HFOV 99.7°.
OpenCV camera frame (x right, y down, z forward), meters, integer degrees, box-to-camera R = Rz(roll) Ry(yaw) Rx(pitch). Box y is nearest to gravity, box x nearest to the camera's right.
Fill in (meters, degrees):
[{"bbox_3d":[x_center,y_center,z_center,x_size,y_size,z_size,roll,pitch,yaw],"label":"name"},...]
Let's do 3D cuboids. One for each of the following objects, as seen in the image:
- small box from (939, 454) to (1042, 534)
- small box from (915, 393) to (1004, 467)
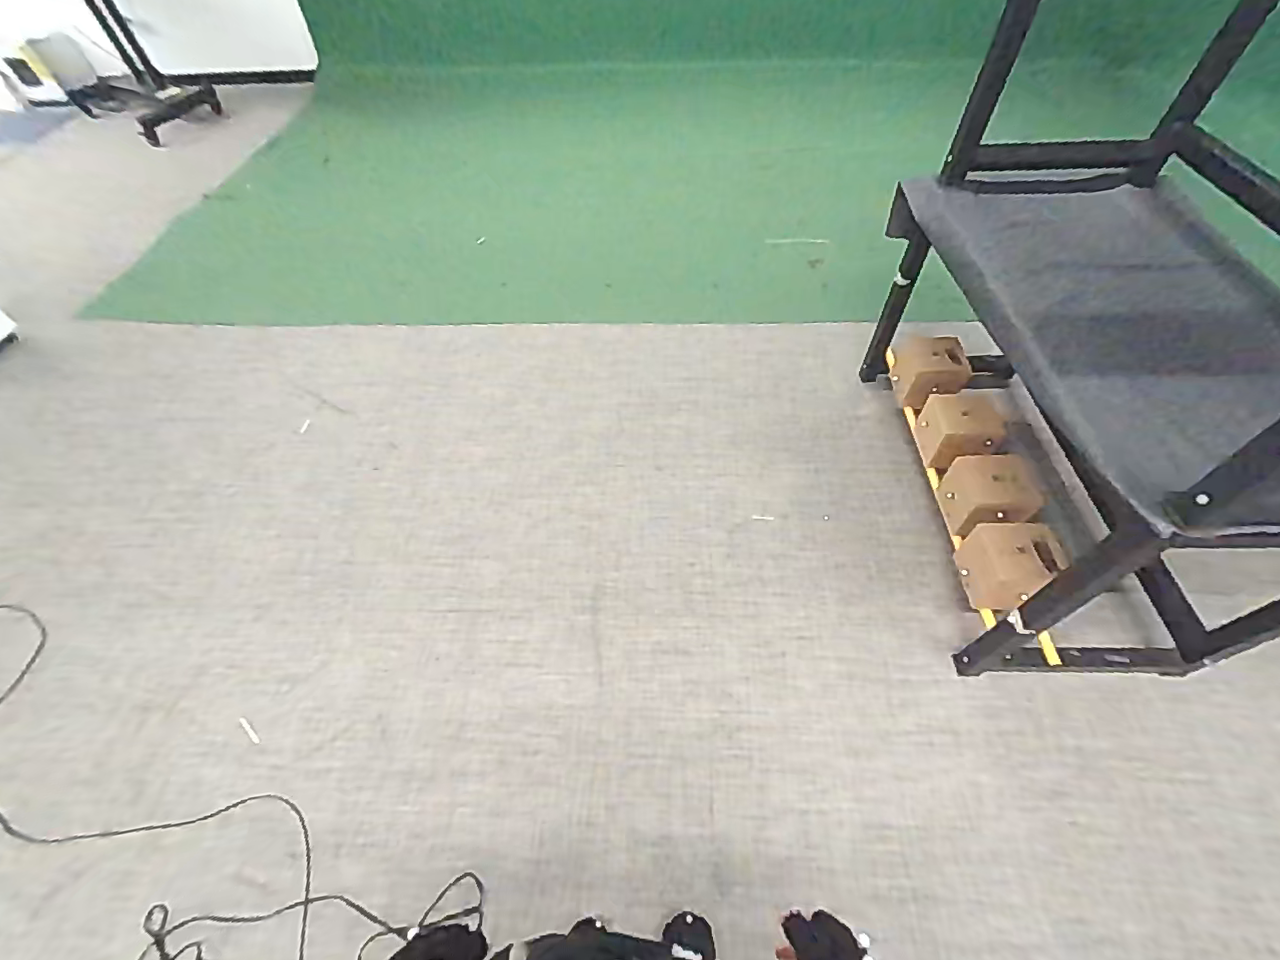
[{"bbox_3d":[0.980,0.043,1.536,0.179,0.176,0.168,-1,53,3],"label":"small box"},{"bbox_3d":[0.981,-0.153,1.685,0.179,0.176,0.168,0,54,4],"label":"small box"}]
